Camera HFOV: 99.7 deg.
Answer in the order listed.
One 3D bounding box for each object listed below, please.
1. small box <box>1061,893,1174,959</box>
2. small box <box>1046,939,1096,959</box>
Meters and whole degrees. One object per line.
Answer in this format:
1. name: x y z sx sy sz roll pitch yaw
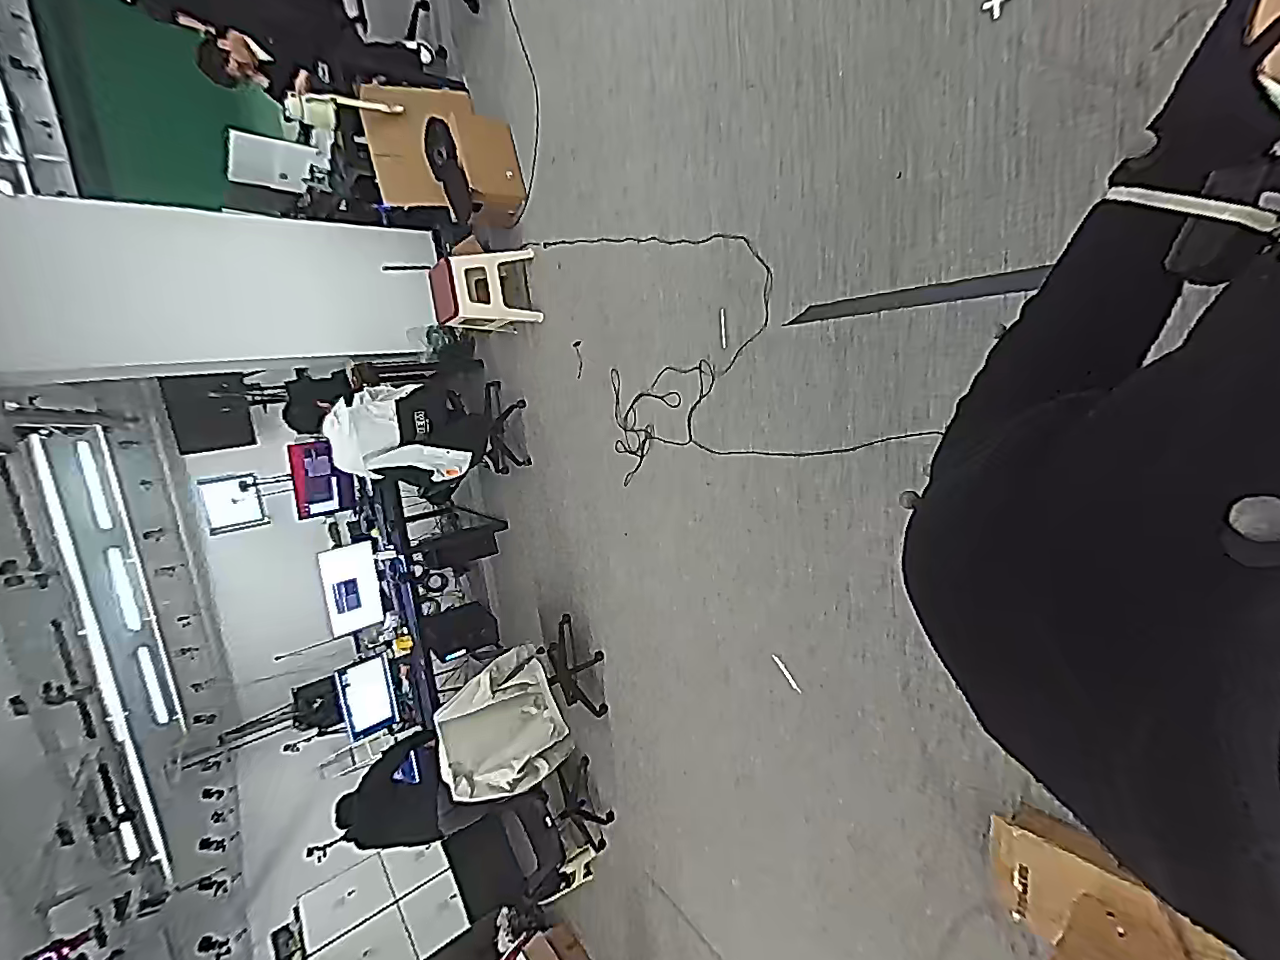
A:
1. small box: 1.070 1.101 1.216 0.168 0.176 0.179 7 108 52
2. small box: 0.936 1.136 1.128 0.168 0.176 0.179 13 111 51
